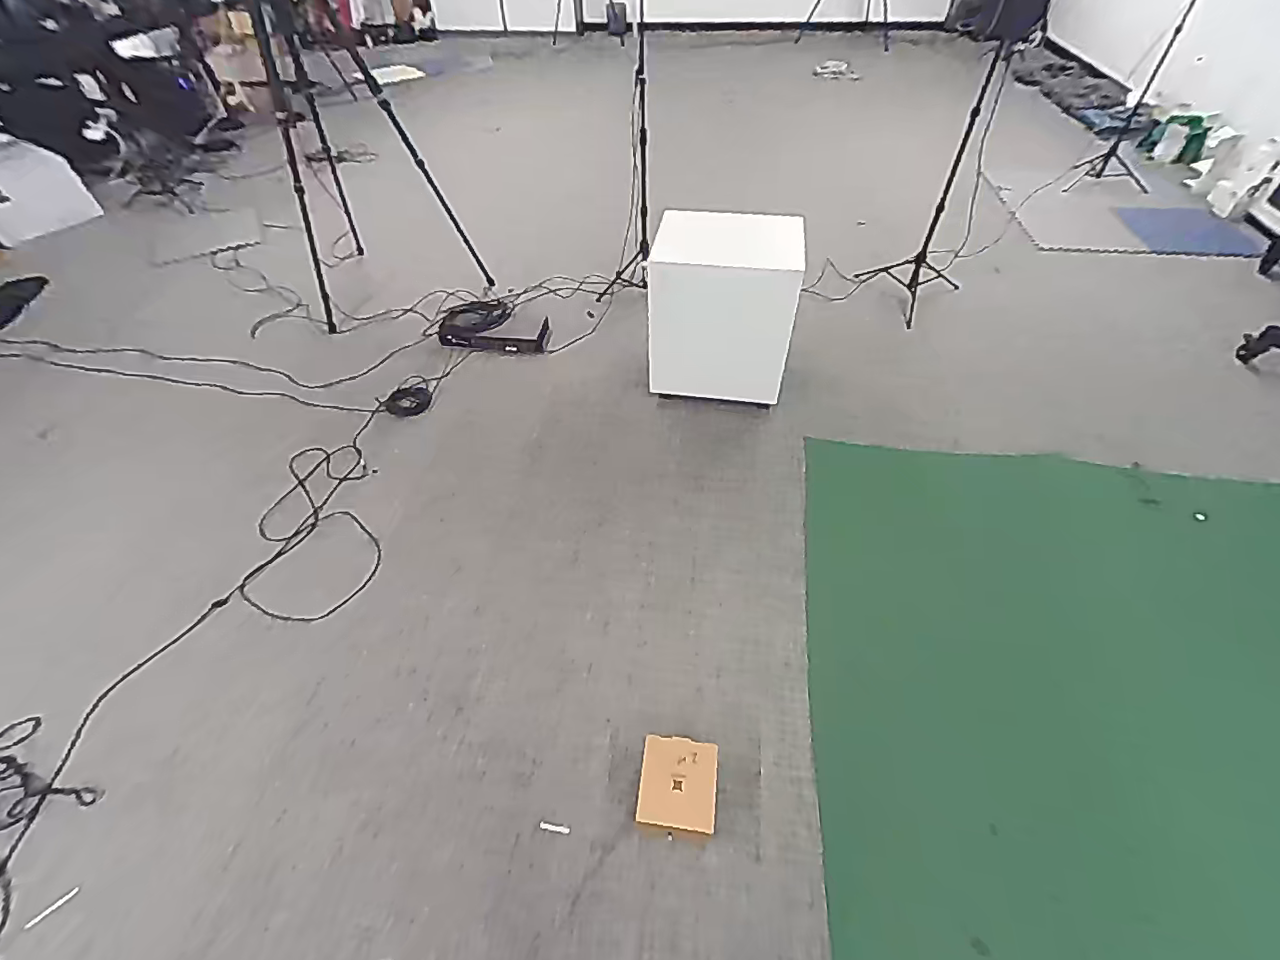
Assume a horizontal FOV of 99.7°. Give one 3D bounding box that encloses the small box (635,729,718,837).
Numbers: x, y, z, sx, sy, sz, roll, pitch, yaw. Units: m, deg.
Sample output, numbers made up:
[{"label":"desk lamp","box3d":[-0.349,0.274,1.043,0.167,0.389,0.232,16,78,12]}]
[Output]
[{"label":"small box","box3d":[0.084,0.693,1.230,0.168,0.176,0.179,6,50,6]}]
